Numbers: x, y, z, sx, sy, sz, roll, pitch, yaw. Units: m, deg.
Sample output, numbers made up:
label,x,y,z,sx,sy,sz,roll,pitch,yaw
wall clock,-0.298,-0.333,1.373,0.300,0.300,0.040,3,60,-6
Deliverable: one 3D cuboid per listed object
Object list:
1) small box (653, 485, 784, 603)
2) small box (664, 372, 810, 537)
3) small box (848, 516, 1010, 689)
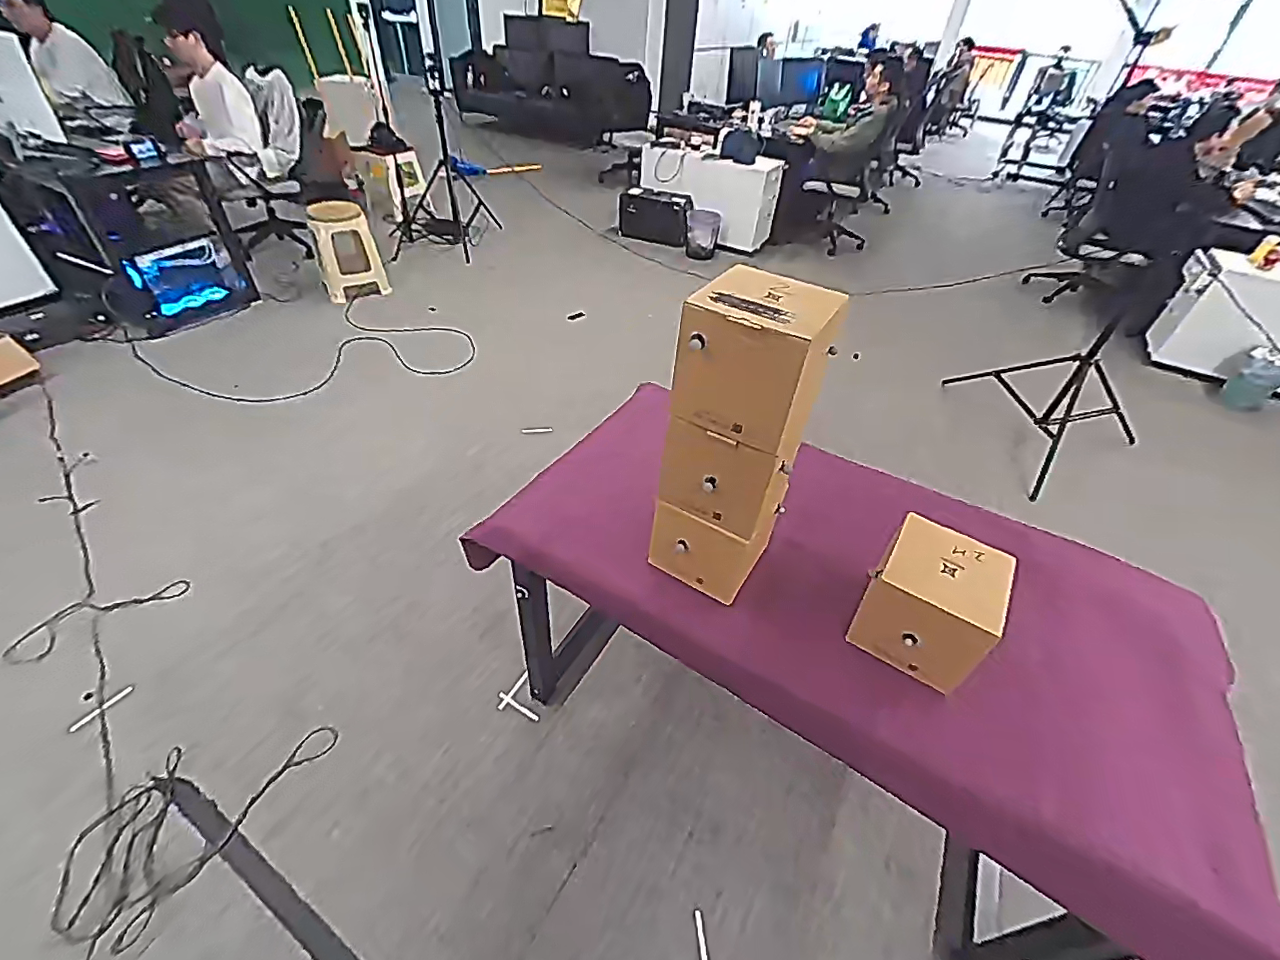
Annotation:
label,x,y,z,sx,sy,sz,roll,pitch,yaw
small box,0.134,0.086,0.966,0.168,0.176,0.179,25,45,21
small box,0.148,-0.040,0.861,0.168,0.176,0.179,24,45,19
small box,0.458,0.198,0.874,0.168,0.176,0.179,27,46,22
